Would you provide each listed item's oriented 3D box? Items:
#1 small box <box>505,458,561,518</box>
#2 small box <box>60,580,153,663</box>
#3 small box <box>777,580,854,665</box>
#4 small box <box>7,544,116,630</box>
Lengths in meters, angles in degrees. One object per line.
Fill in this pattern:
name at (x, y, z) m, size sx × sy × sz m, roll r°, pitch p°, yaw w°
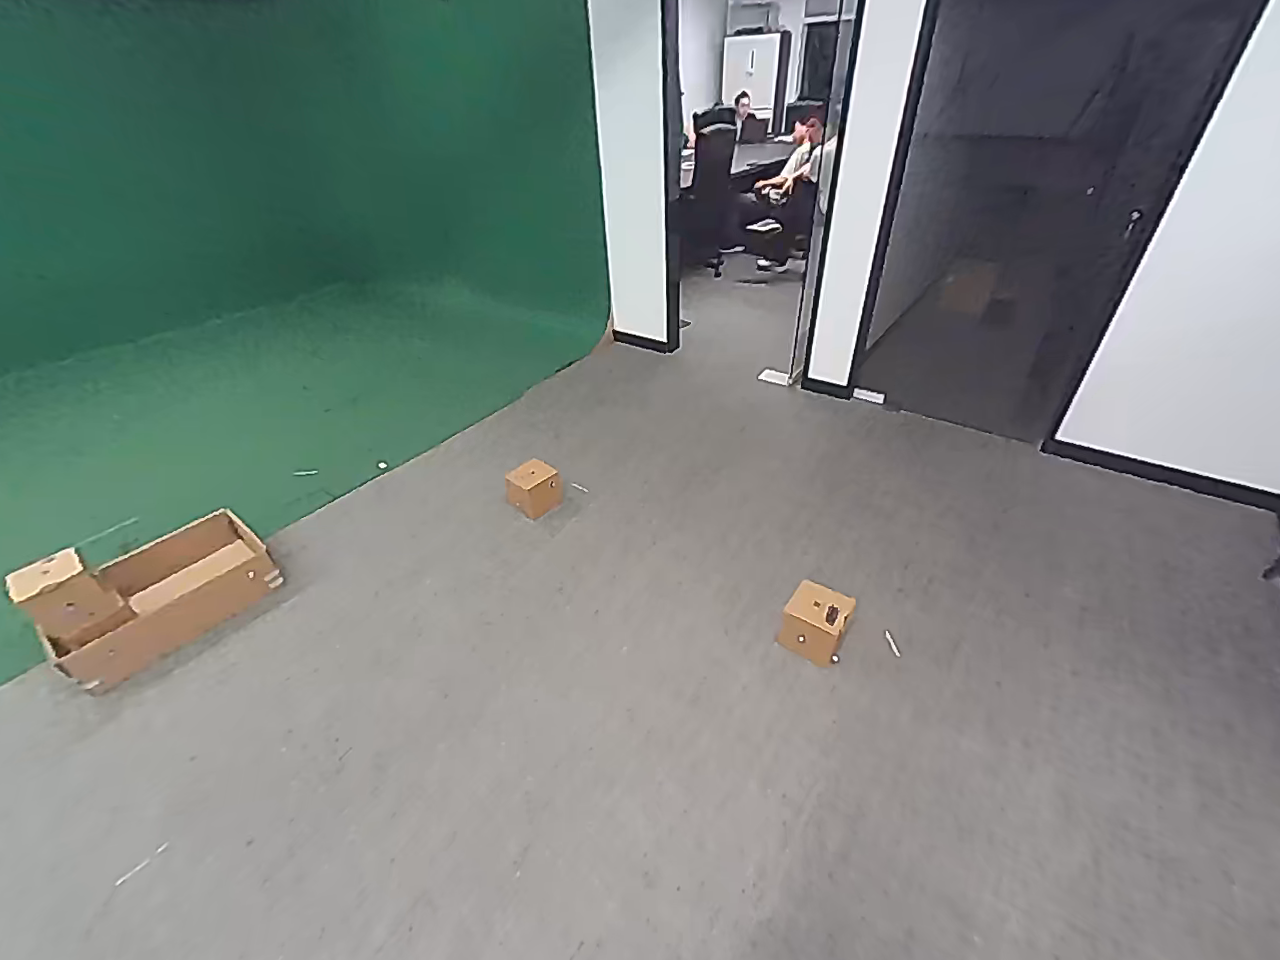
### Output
small box at (-0.461, 0.035, 2.363) m, size 0.168 × 0.176 × 0.179 m, roll 27°, pitch 47°, yaw 34°
small box at (-1.779, 0.469, 1.790) m, size 0.179 × 0.176 × 0.168 m, roll 23°, pitch 44°, yaw 27°
small box at (0.563, 0.465, 1.745) m, size 0.179 × 0.176 × 0.168 m, roll 23°, pitch 44°, yaw 31°
small box at (-1.800, 0.341, 1.690) m, size 0.179 × 0.176 × 0.168 m, roll 27°, pitch 46°, yaw 31°
